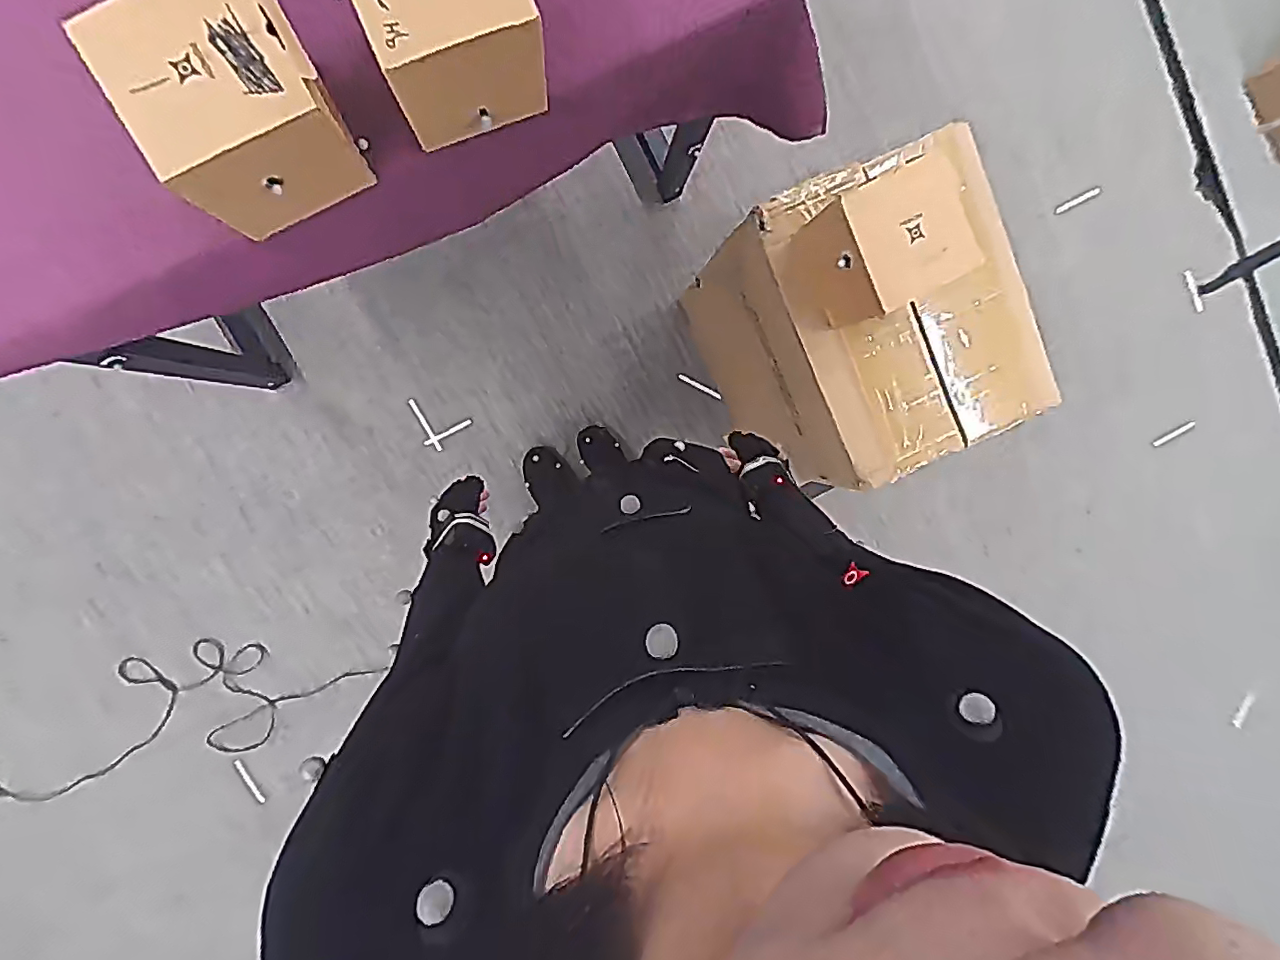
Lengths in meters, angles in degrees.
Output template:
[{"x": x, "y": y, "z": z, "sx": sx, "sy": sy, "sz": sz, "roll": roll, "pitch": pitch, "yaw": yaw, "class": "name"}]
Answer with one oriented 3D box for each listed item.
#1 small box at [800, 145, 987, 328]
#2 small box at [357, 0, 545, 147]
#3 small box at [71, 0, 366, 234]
[{"x": 0.370, "y": -0.355, "z": 0.823, "sx": 0.168, "sy": 0.176, "sz": 0.179, "roll": -27, "pitch": 99, "yaw": -1, "class": "small box"}, {"x": -0.221, "y": -0.532, "z": 0.629, "sx": 0.179, "sy": 0.176, "sz": 0.168, "roll": -23, "pitch": 96, "yaw": -6, "class": "small box"}, {"x": -0.442, "y": -0.414, "z": 0.610, "sx": 0.179, "sy": 0.176, "sz": 0.168, "roll": -28, "pitch": 97, "yaw": -3, "class": "small box"}]
